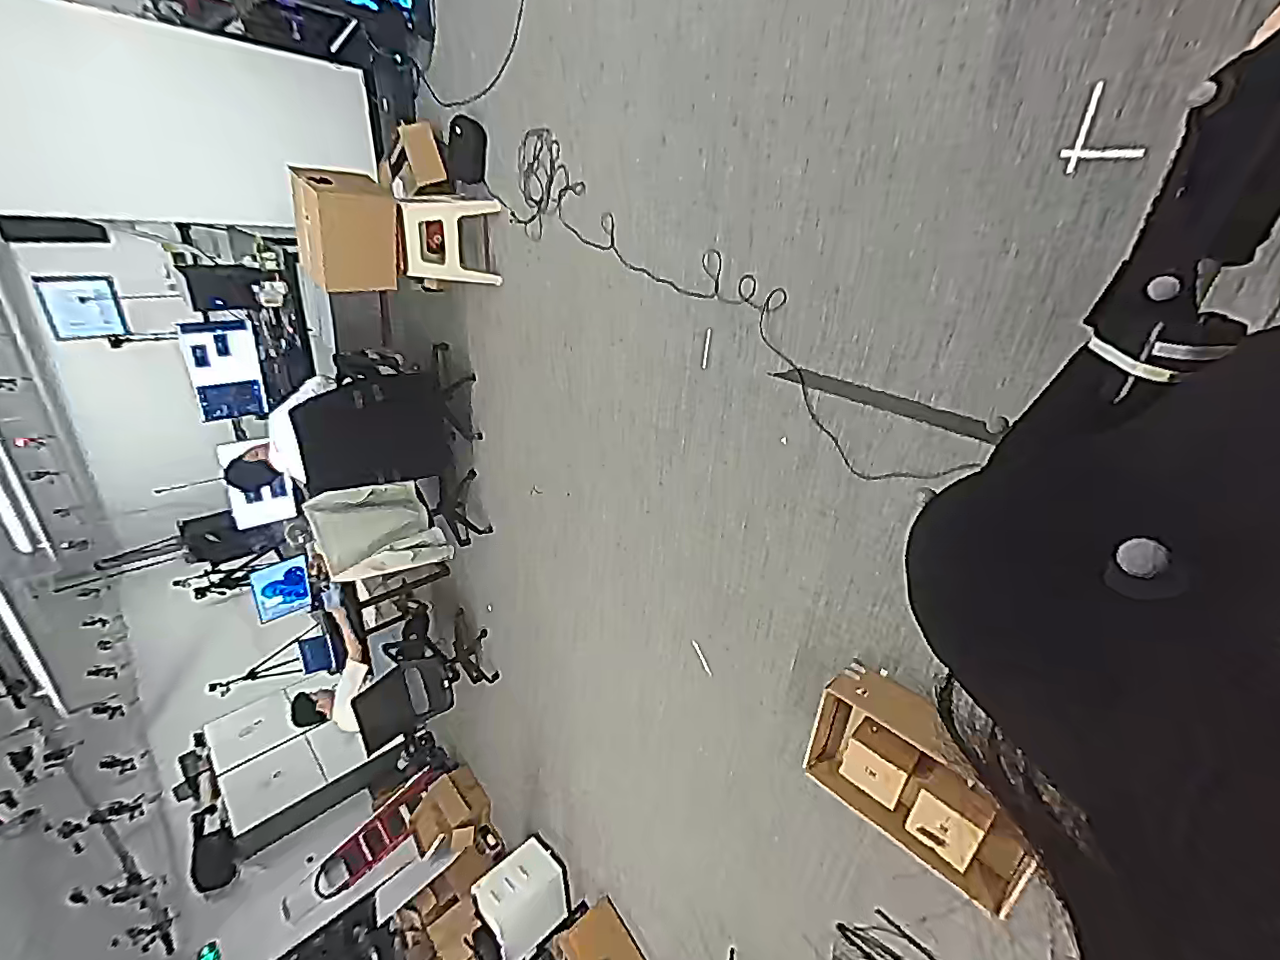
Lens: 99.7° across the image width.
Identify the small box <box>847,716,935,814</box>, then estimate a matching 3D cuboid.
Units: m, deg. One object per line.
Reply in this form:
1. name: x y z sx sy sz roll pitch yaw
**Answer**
1. small box: 0.767 0.859 1.655 0.179 0.176 0.168 24 123 38
